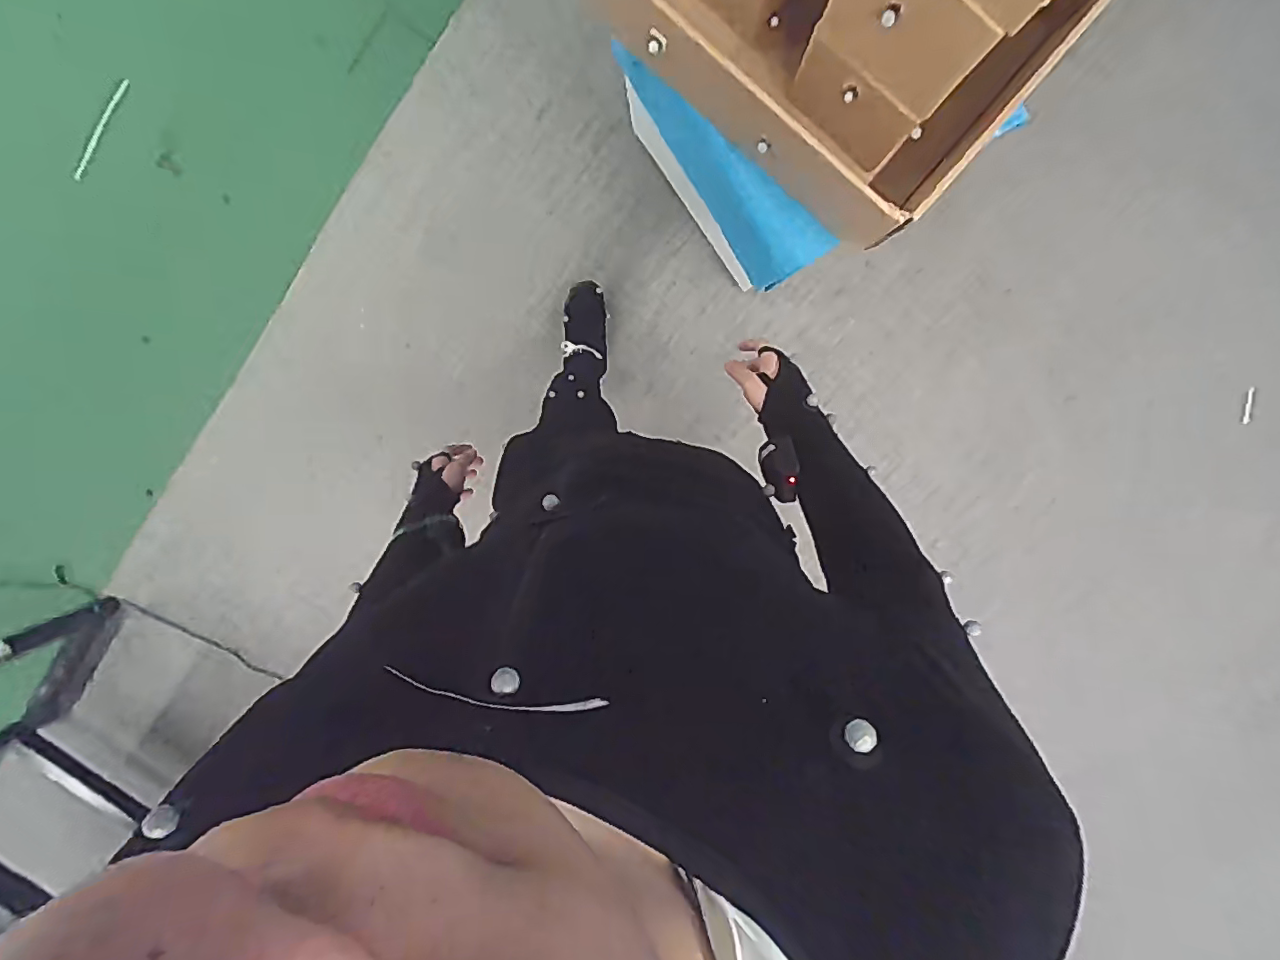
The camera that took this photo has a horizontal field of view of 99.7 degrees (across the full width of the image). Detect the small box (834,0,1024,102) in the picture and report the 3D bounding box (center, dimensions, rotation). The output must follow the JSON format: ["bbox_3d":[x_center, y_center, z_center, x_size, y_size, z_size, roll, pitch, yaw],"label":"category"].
[{"bbox_3d":[0.334,-0.549,0.562,0.179,0.176,0.168,39,101,-2],"label":"small box"}]
